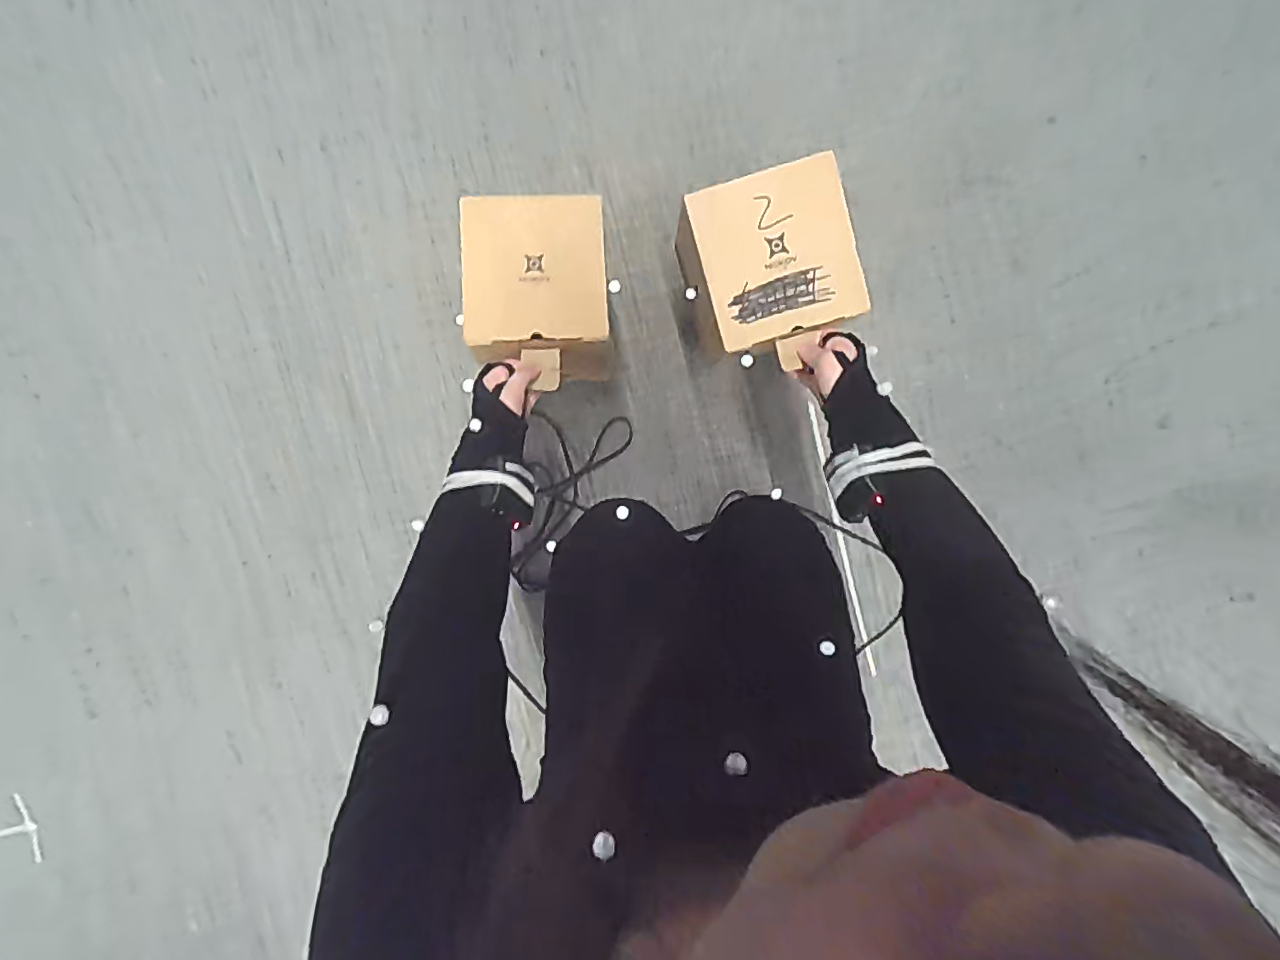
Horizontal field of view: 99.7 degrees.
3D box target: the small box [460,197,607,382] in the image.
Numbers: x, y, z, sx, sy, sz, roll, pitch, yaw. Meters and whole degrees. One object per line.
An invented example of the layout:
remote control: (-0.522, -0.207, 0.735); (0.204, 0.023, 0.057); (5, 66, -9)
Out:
small box: (-0.129, -0.234, 0.698); (0.168, 0.176, 0.179); (-3, 86, -4)
